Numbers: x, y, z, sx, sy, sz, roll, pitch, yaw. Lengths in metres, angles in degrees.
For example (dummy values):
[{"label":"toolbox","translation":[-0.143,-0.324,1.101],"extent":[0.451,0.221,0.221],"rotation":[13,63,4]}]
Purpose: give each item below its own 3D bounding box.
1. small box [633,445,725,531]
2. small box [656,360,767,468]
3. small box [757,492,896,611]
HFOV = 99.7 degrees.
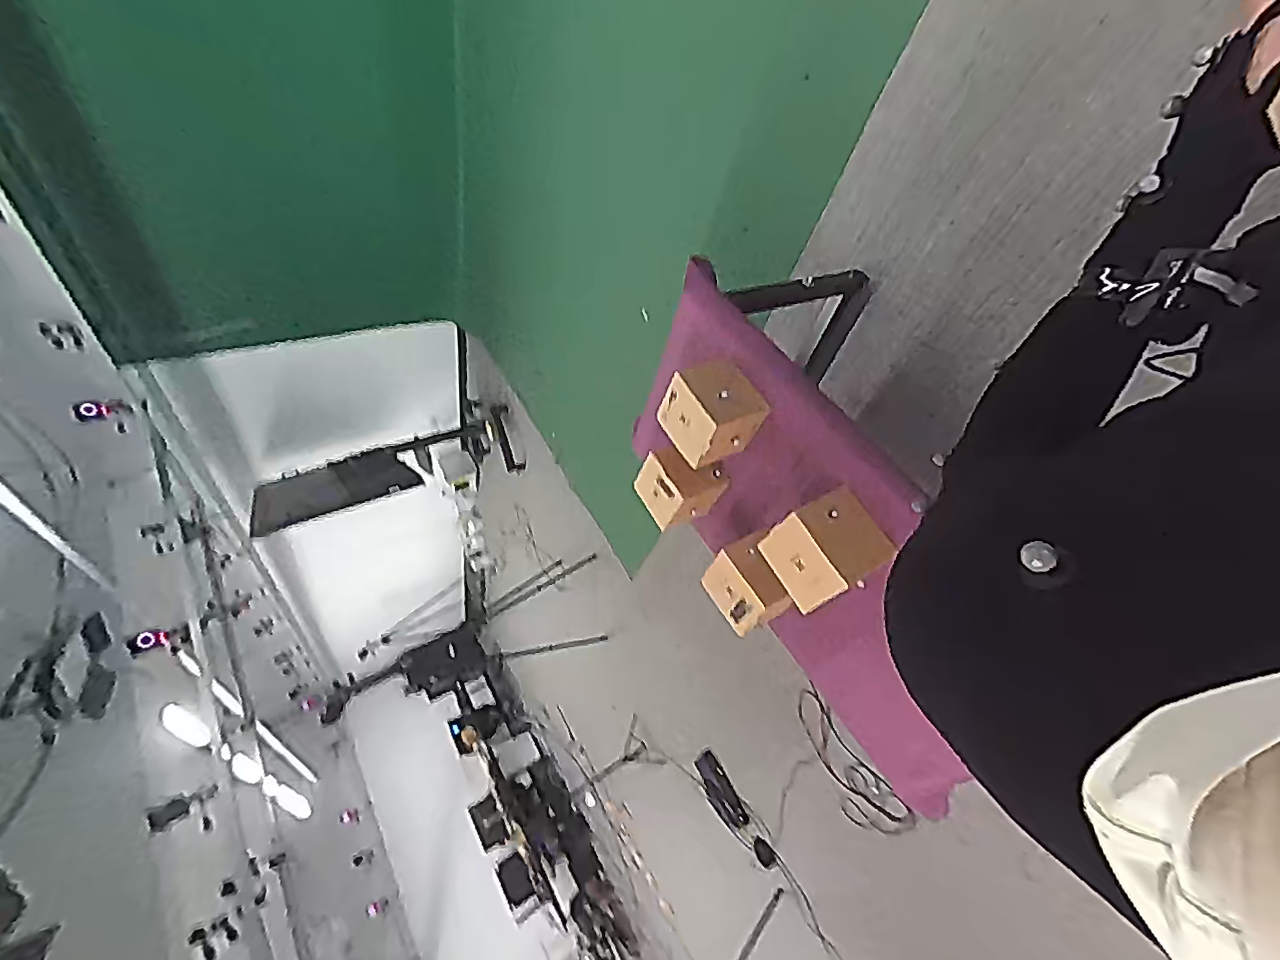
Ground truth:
[{"label":"small box","translation":[0.111,0.009,1.500],"extent":[0.168,0.176,0.179],"rotation":[57,148,21]},{"label":"small box","translation":[0.171,-0.164,1.299],"extent":[0.179,0.176,0.168],"rotation":[56,148,21]},{"label":"small box","translation":[0.387,0.142,1.134],"extent":[0.179,0.176,0.168],"rotation":[57,149,19]}]
